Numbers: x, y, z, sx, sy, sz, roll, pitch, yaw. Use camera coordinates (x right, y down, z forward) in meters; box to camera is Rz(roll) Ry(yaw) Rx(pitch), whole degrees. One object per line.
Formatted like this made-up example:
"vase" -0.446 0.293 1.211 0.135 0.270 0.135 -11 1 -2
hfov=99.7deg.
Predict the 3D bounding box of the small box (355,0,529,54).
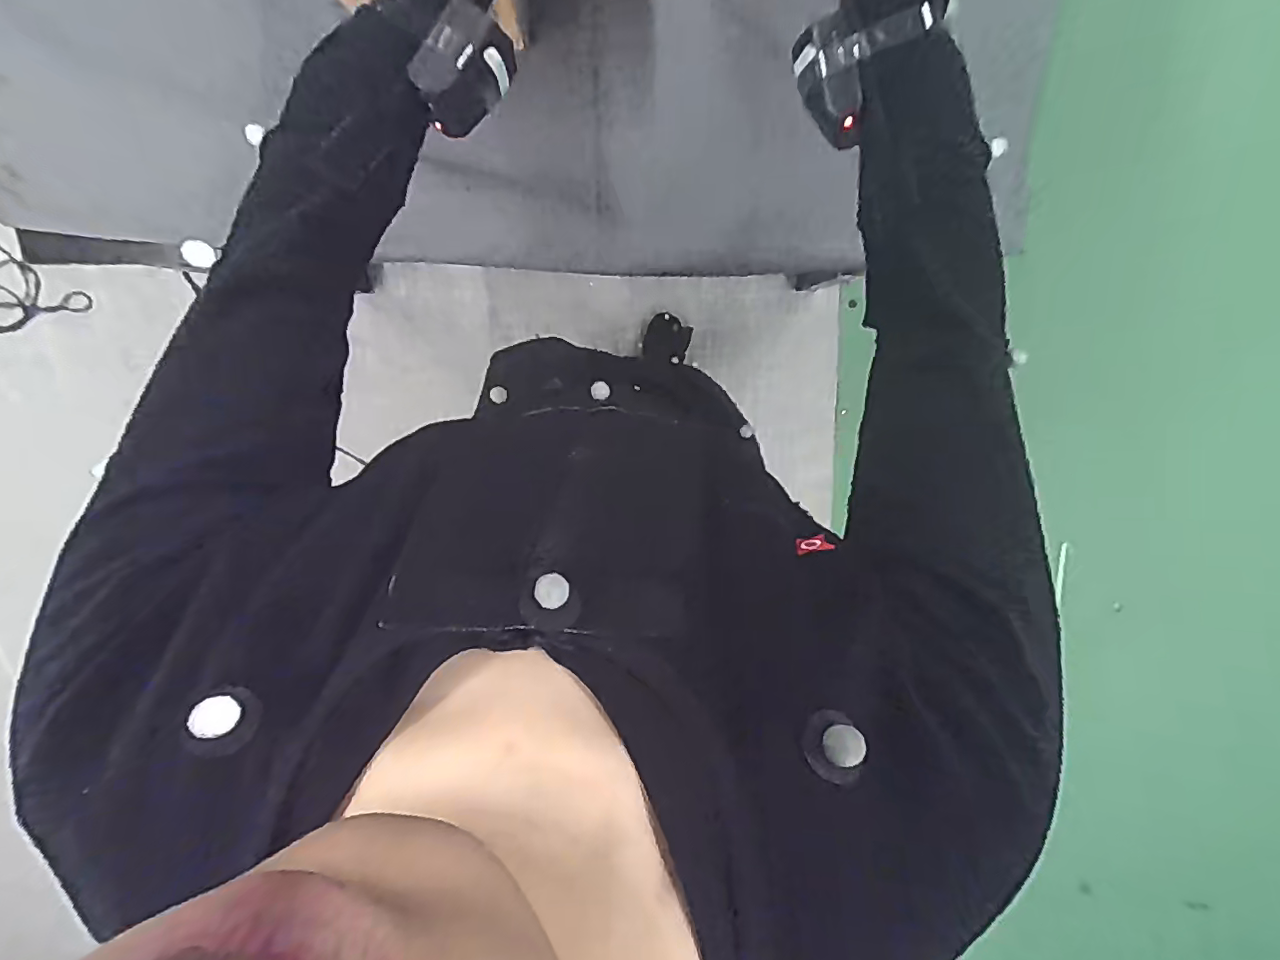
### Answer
"small box" -0.204 -0.546 0.510 0.168 0.176 0.179 0 105 1
